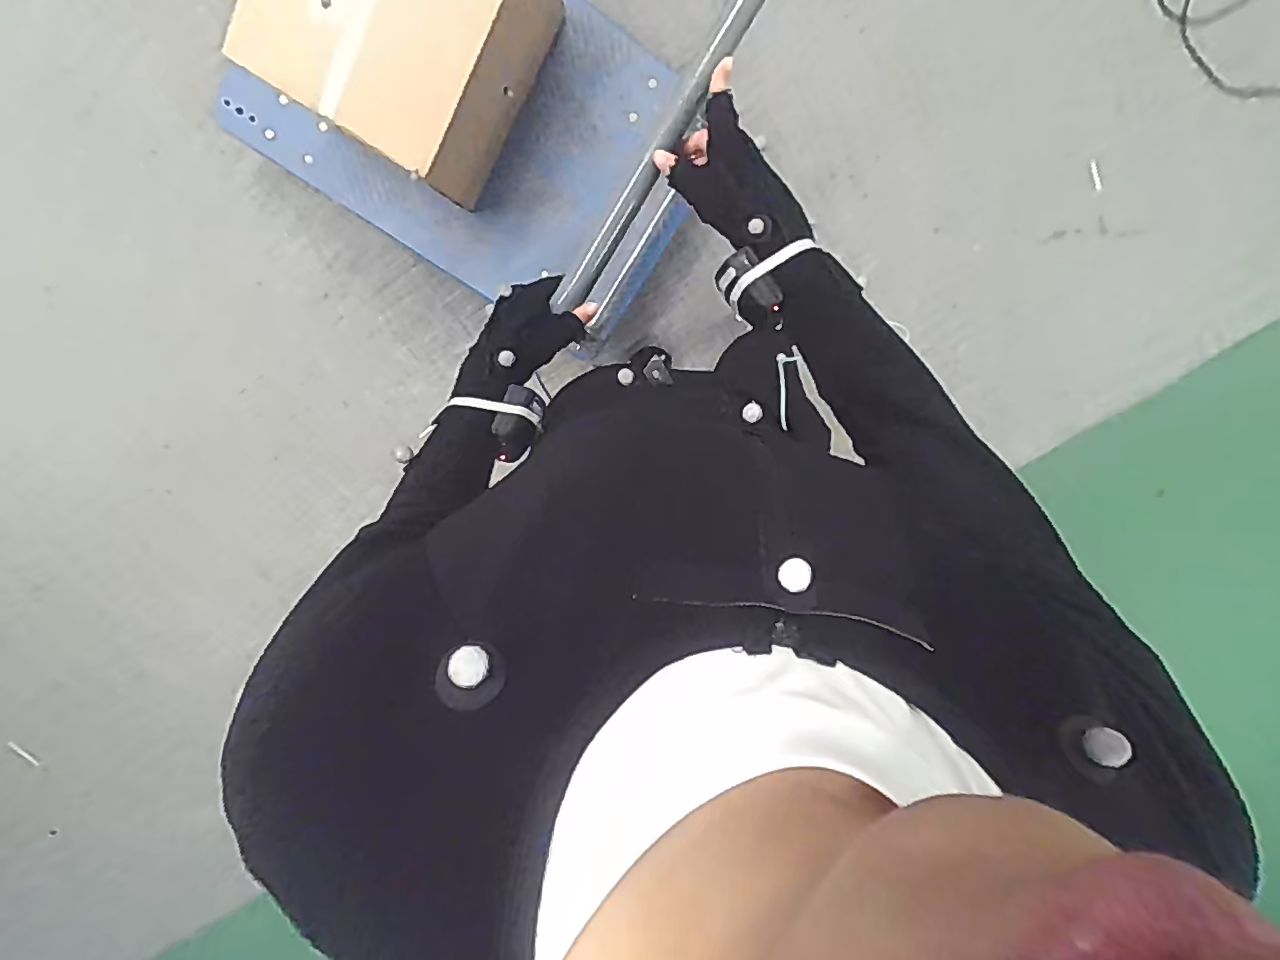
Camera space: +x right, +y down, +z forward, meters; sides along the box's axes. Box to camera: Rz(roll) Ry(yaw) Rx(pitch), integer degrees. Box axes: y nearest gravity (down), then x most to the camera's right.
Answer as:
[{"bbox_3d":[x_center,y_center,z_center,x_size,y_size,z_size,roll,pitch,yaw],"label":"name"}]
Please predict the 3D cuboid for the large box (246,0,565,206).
[{"bbox_3d":[-0.354,-0.750,0.903,0.320,0.320,0.408,28,105,-11],"label":"large box"}]
